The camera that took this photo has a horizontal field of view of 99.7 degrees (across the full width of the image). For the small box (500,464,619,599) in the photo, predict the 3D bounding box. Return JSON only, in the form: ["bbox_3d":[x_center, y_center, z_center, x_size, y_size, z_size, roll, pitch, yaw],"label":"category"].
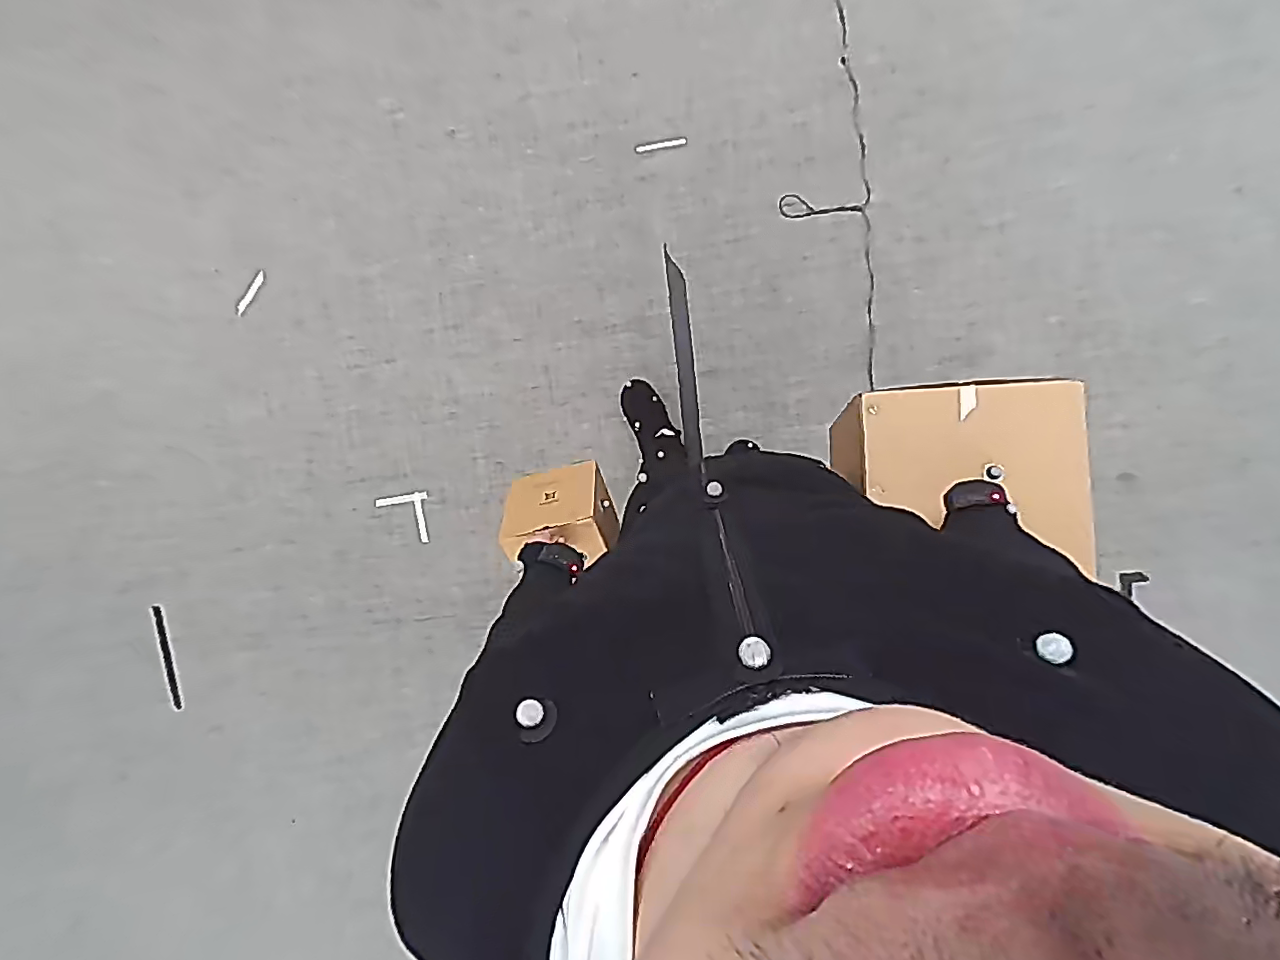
[{"bbox_3d":[-0.138,0.100,0.997,0.168,0.179,0.176,-13,122,5],"label":"small box"}]
